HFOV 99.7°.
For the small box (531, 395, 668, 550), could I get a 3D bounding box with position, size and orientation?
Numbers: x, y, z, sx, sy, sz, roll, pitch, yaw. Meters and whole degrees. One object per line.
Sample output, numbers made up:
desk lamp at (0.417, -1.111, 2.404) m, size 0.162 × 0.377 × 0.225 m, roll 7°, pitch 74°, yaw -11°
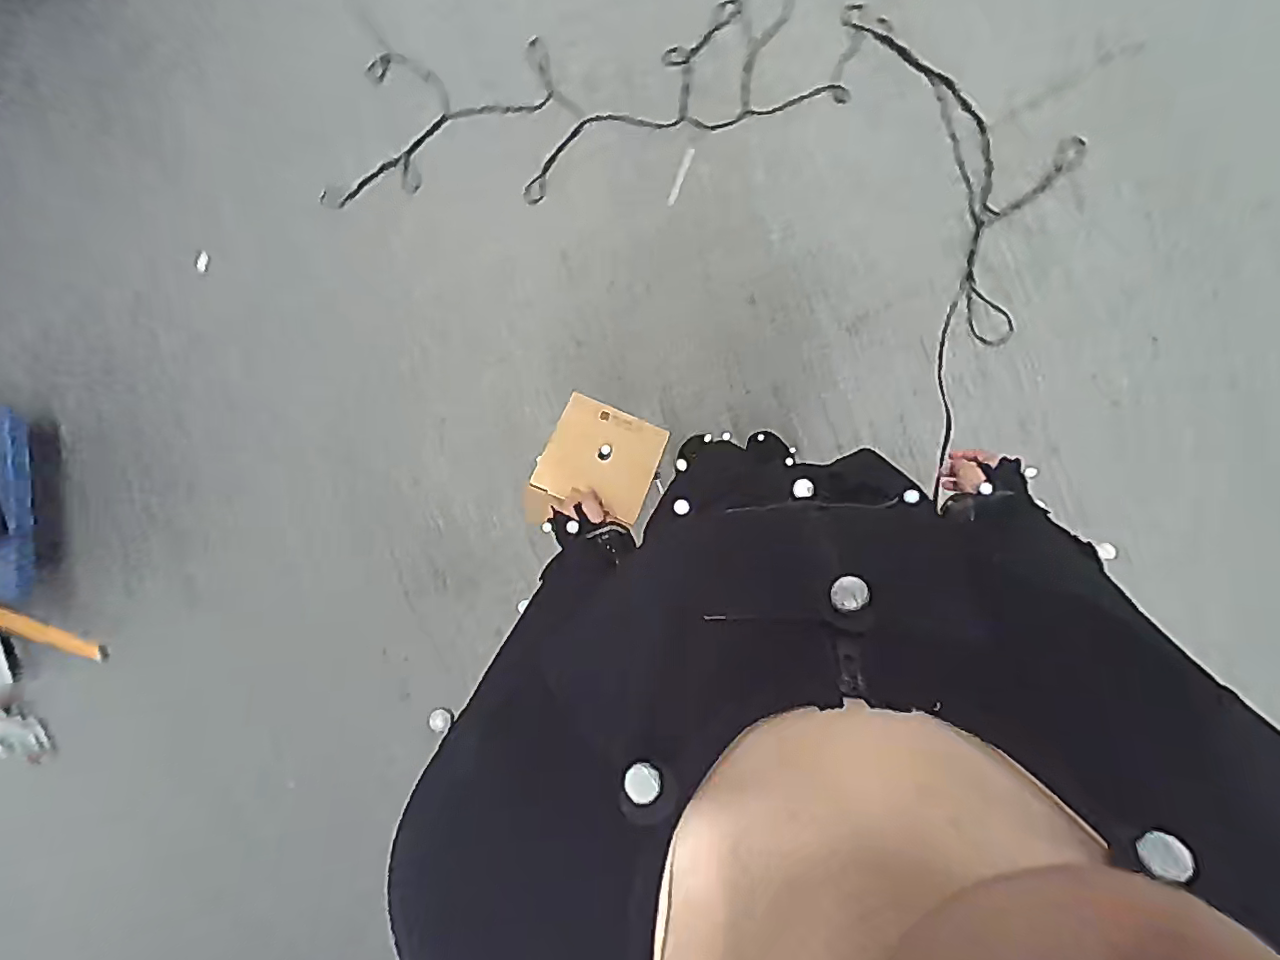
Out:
small box at (-0.066, -0.010, 0.878) m, size 0.168 × 0.179 × 0.176 m, roll 23°, pitch 67°, yaw -3°
